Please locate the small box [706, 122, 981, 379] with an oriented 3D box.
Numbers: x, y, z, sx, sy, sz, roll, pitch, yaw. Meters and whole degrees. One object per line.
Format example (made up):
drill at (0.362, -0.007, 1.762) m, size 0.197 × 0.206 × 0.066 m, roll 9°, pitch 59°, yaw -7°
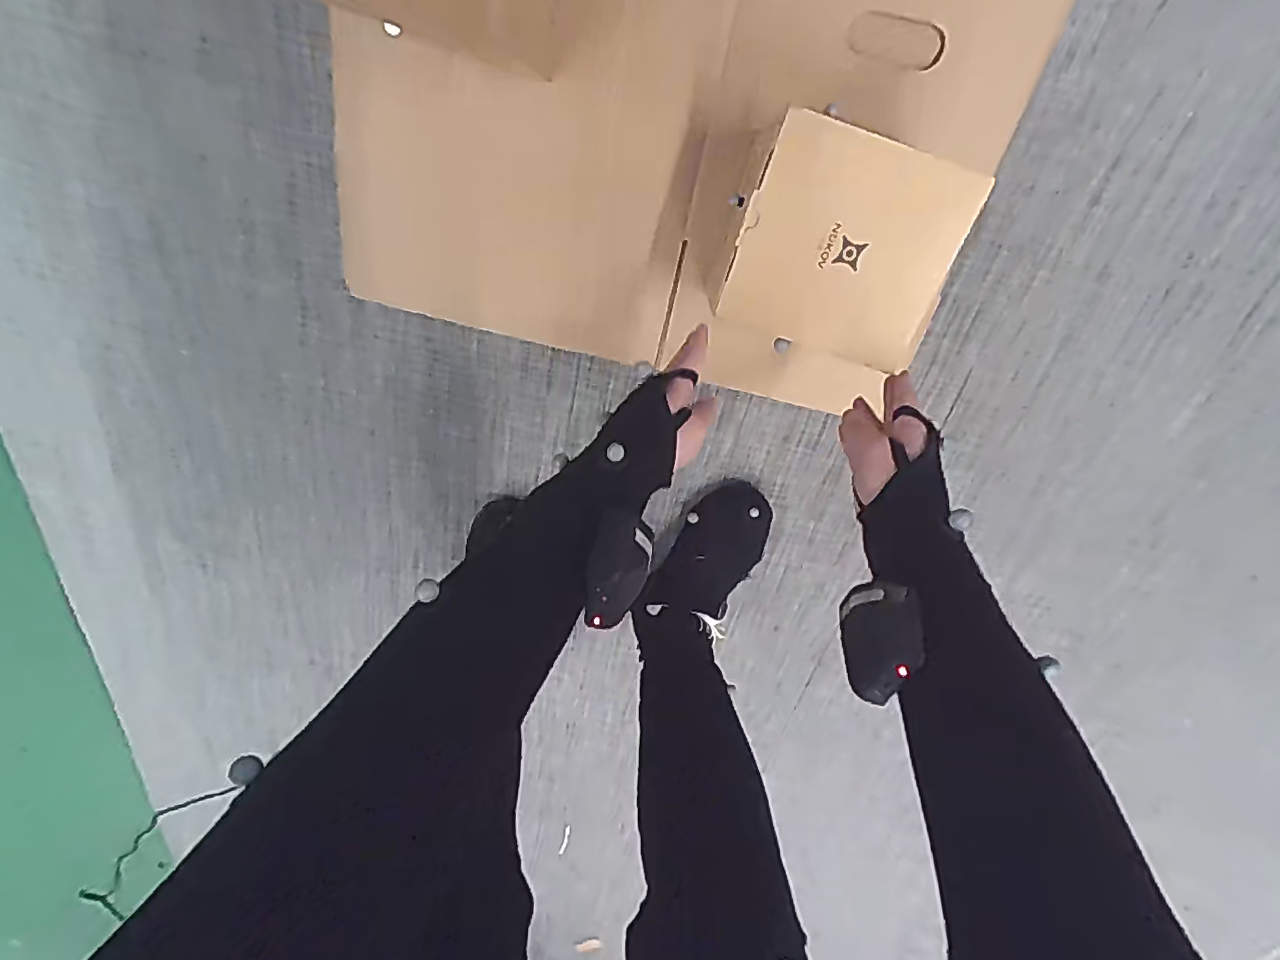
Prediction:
small box at (0.173, -0.220, 0.527) m, size 0.179 × 0.176 × 0.168 m, roll 17°, pitch 117°, yaw -2°
